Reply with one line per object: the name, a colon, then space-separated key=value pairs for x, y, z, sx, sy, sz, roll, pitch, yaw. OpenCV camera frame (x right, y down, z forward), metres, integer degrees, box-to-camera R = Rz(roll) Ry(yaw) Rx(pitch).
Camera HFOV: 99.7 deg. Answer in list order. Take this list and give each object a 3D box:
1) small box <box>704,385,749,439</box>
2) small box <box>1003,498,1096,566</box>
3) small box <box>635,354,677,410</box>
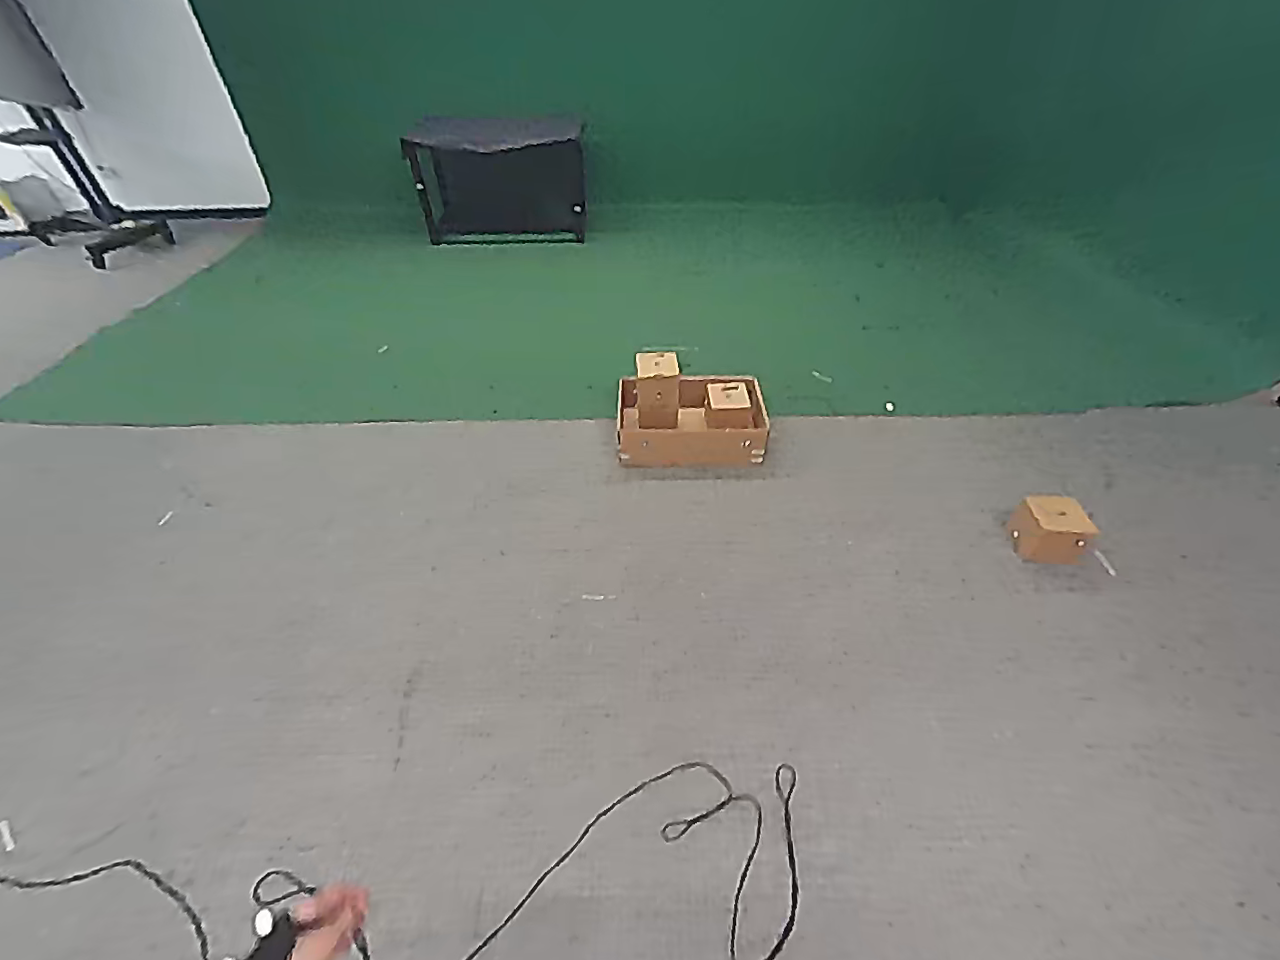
small box: x=0.369 y=-0.294 z=2.337 sx=0.168 sy=0.176 sz=0.179 roll=-2 pitch=45 yaw=0
small box: x=1.417 y=0.183 z=1.884 sx=0.179 sy=0.176 sz=0.168 roll=3 pitch=42 yaw=4
small box: x=0.065 y=-0.396 z=2.212 sx=0.168 sy=0.176 sz=0.179 roll=-3 pitch=44 yaw=-2
